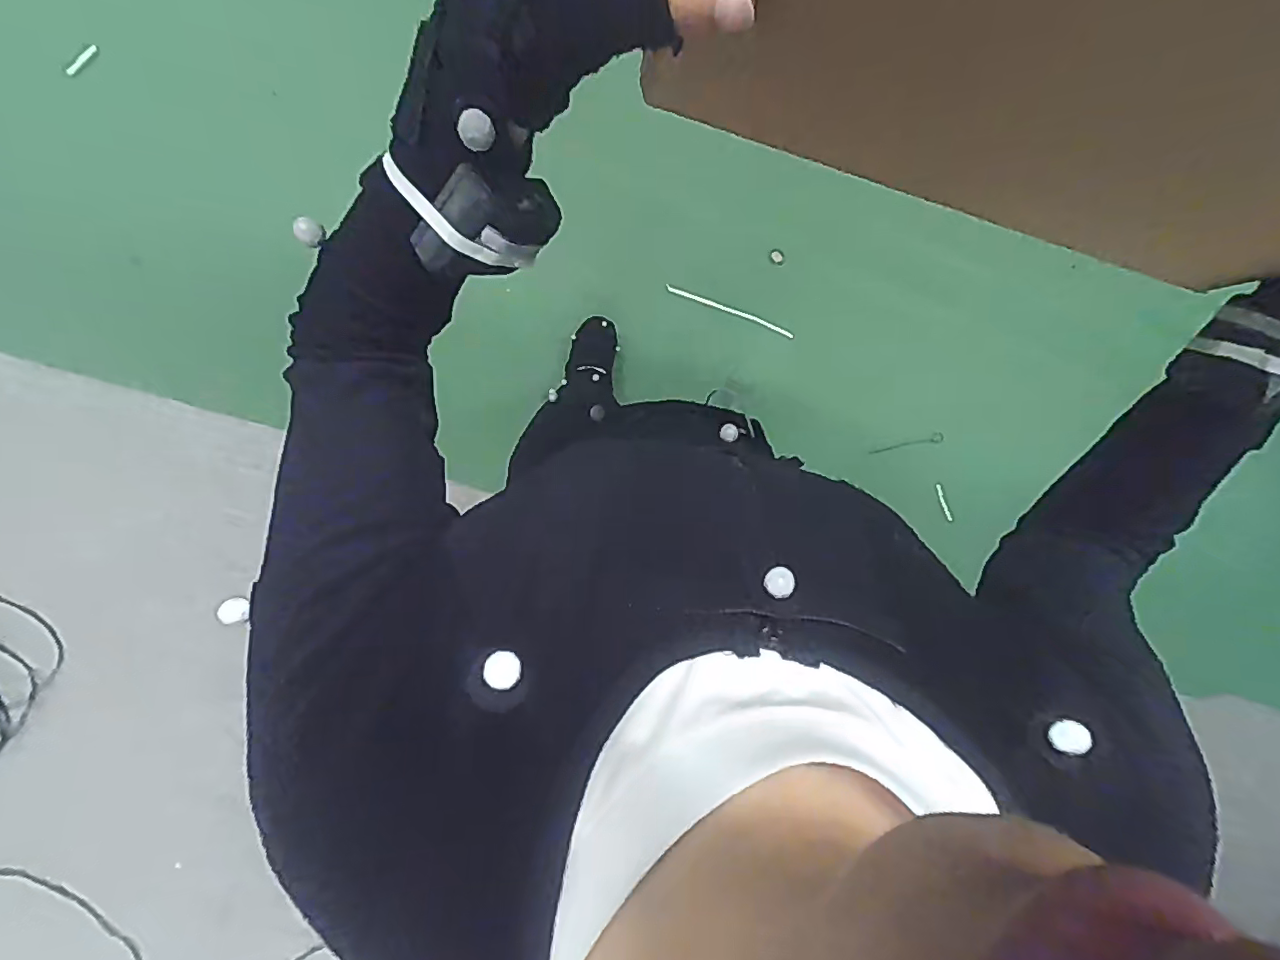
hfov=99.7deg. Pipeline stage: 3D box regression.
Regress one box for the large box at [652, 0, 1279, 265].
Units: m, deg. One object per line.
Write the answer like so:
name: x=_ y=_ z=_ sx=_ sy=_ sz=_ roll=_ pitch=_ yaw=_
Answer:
large box: x=0.250 y=-0.301 z=0.164 sx=0.408 sy=0.320 sz=0.320 roll=8 pitch=95 yaw=-17
